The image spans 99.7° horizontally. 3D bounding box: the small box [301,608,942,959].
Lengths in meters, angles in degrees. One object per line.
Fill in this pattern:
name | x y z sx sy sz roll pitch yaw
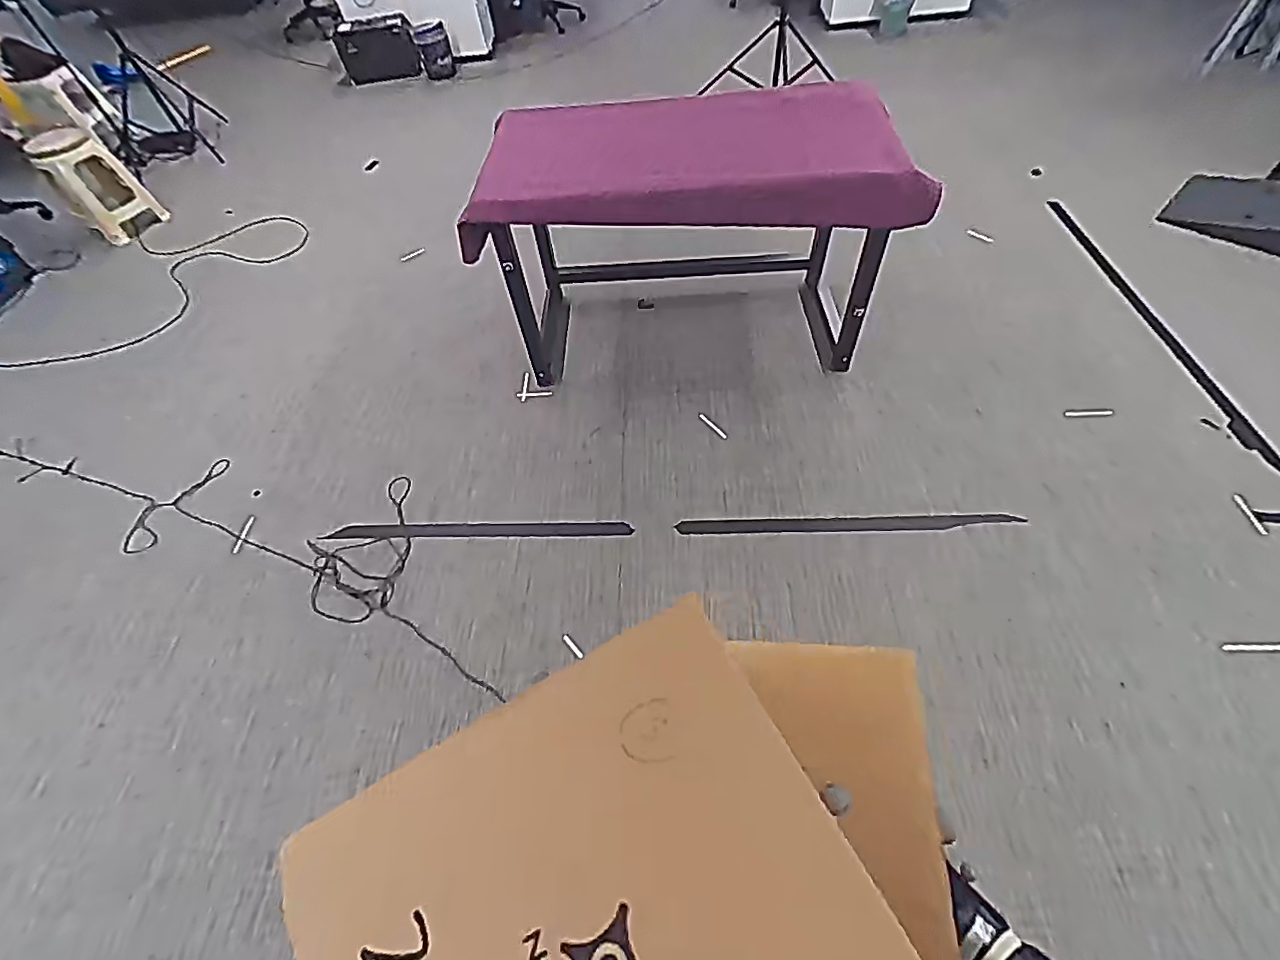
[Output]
small box | 0.005 0.184 0.232 0.179 0.176 0.168 -30 61 -4
